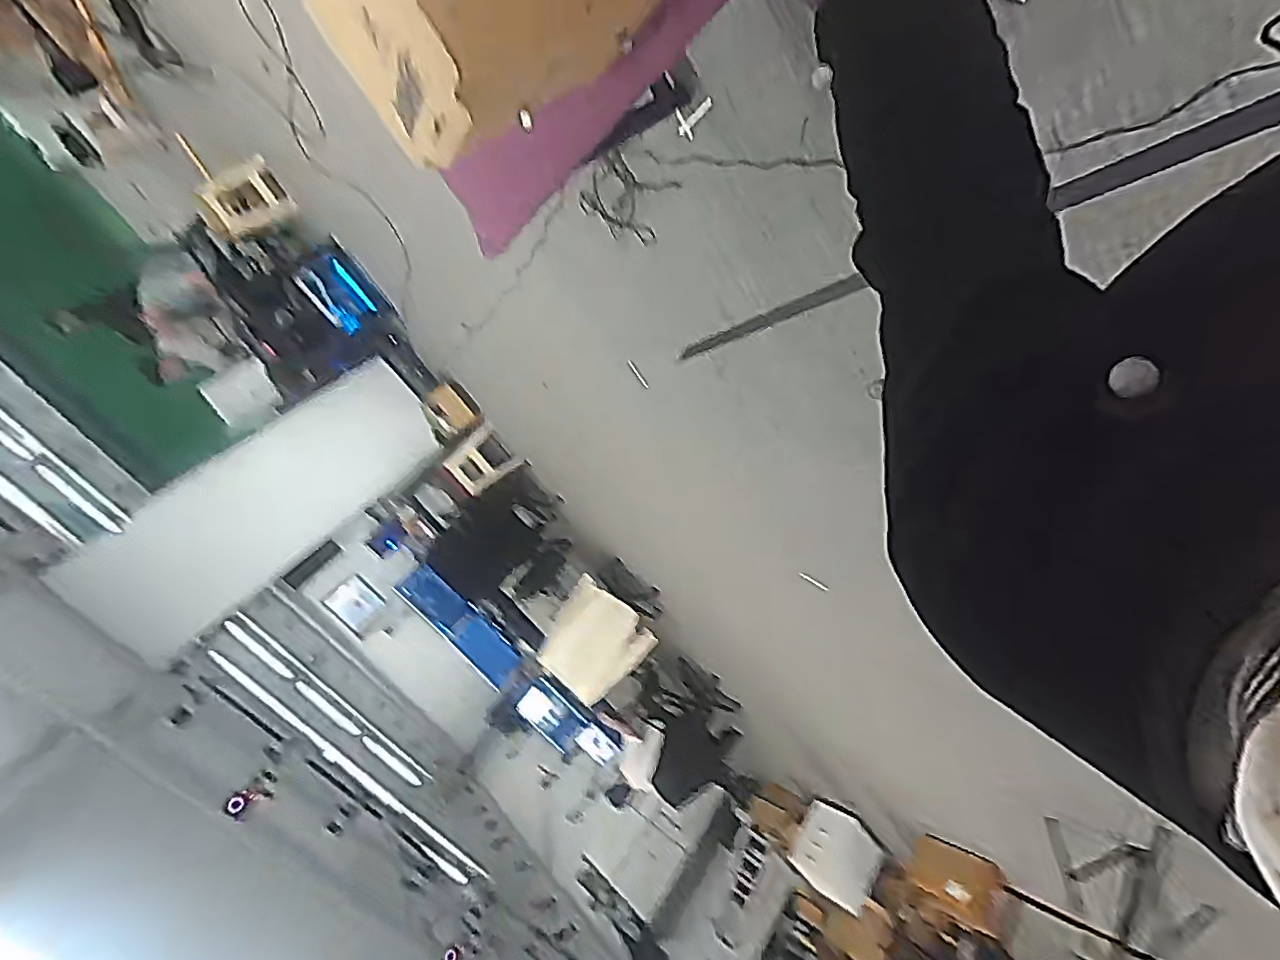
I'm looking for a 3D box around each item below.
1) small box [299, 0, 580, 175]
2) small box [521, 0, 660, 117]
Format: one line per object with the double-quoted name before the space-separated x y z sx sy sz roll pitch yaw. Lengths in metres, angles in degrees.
"small box" -0.191 -0.450 0.528 0.168 0.176 0.179 -4 127 56
"small box" -0.096 -0.563 0.603 0.179 0.176 0.168 -6 127 55
